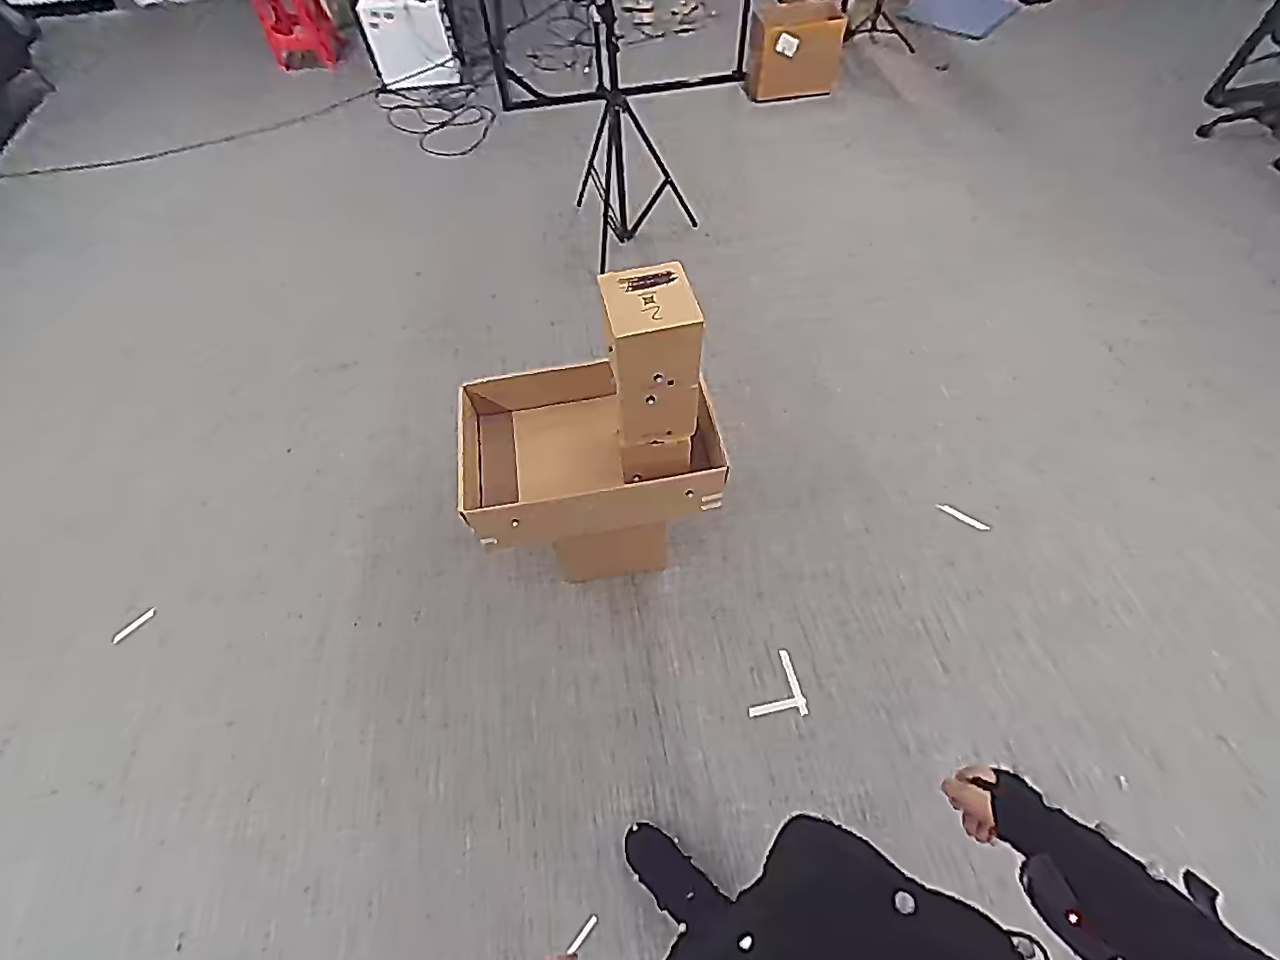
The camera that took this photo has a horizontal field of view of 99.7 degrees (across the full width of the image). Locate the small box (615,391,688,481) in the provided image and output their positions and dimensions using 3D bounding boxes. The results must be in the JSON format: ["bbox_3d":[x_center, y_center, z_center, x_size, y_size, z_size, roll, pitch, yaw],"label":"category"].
[{"bbox_3d":[0.027,-0.108,1.334,0.168,0.176,0.179,-4,58,-1],"label":"small box"}]

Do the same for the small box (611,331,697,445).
[{"bbox_3d":[0.029,-0.202,1.200,0.168,0.176,0.179,-7,58,-2],"label":"small box"}]
